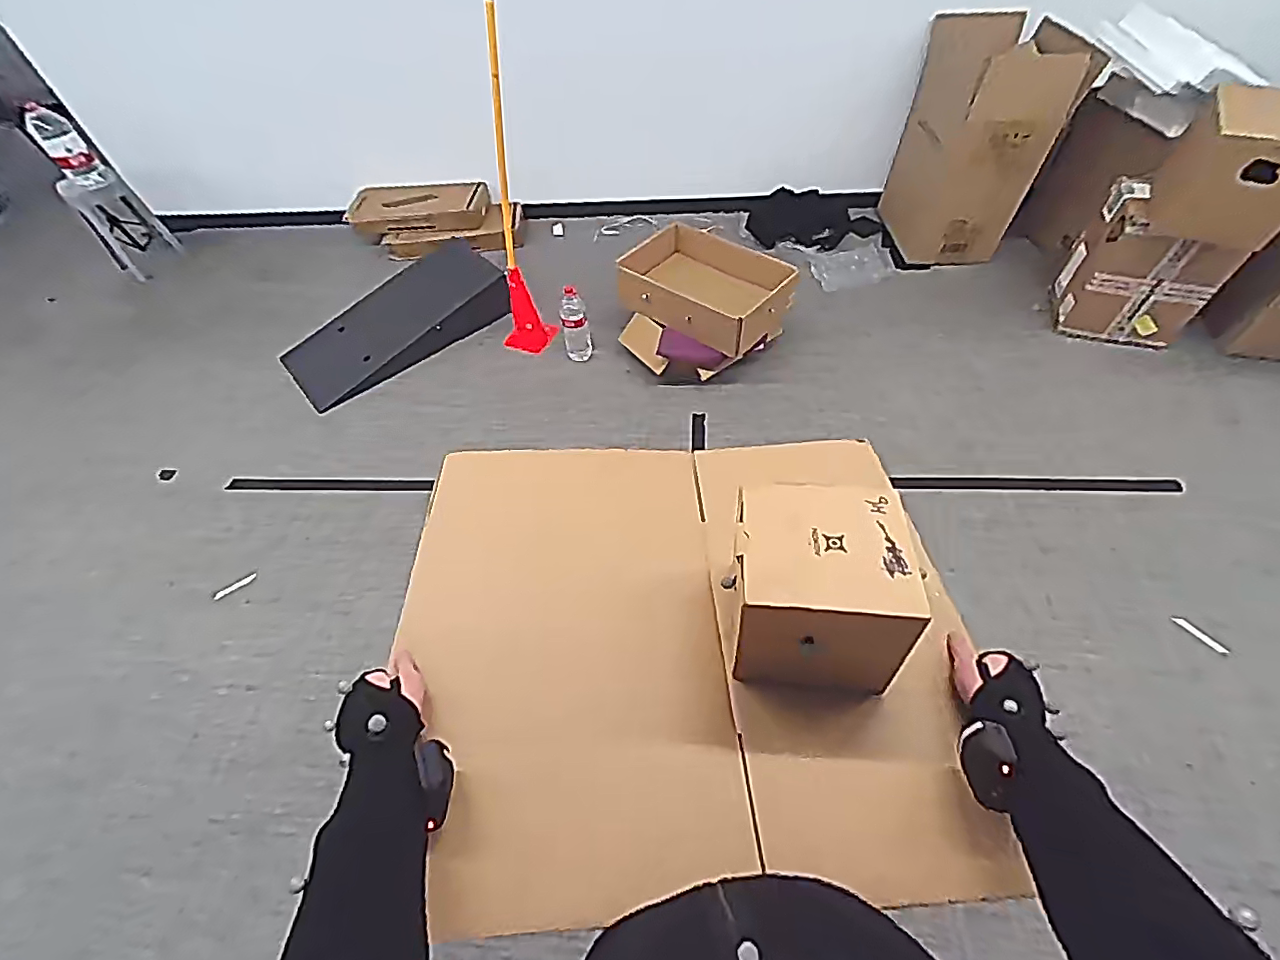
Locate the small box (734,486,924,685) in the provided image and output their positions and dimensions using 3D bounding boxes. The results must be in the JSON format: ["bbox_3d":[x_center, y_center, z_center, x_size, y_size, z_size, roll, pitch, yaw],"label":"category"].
[{"bbox_3d":[0.201,0.124,0.631,0.179,0.176,0.168,2,47,8],"label":"small box"}]
